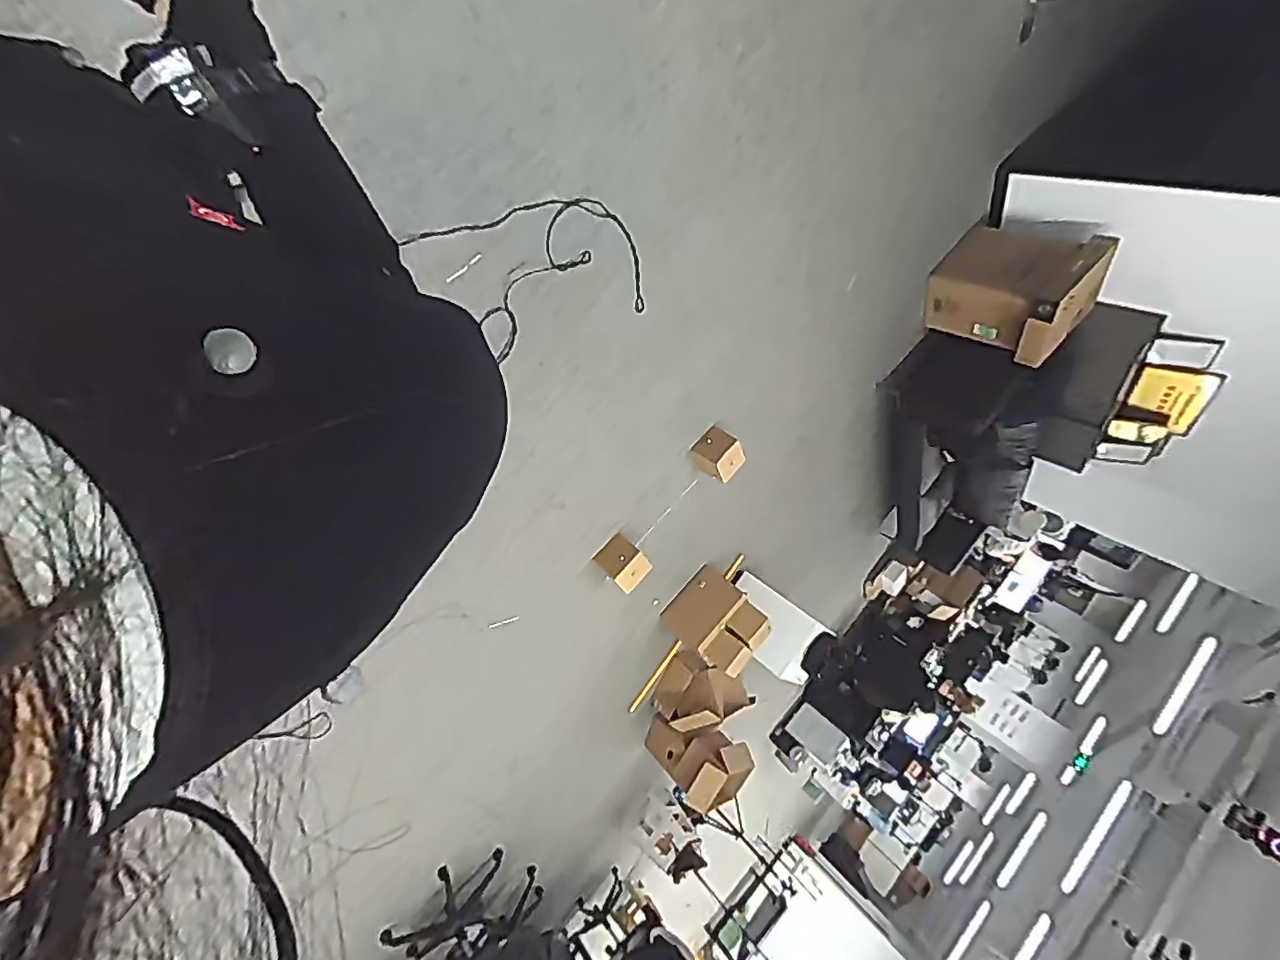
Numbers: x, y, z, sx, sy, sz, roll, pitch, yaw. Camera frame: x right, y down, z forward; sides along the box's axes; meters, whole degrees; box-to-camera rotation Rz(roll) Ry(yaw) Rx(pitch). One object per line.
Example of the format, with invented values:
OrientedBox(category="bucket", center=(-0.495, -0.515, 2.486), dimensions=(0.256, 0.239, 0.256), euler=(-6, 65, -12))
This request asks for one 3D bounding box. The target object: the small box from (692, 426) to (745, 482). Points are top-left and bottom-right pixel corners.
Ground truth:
OrientedBox(category="small box", center=(0.376, -0.129, 2.596), dimensions=(0.168, 0.176, 0.179), euler=(-47, 142, -11))

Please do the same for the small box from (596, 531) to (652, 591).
OrientedBox(category="small box", center=(-0.081, 0.368, 2.475), dimensions=(0.179, 0.176, 0.168), euler=(-47, 141, -12))
